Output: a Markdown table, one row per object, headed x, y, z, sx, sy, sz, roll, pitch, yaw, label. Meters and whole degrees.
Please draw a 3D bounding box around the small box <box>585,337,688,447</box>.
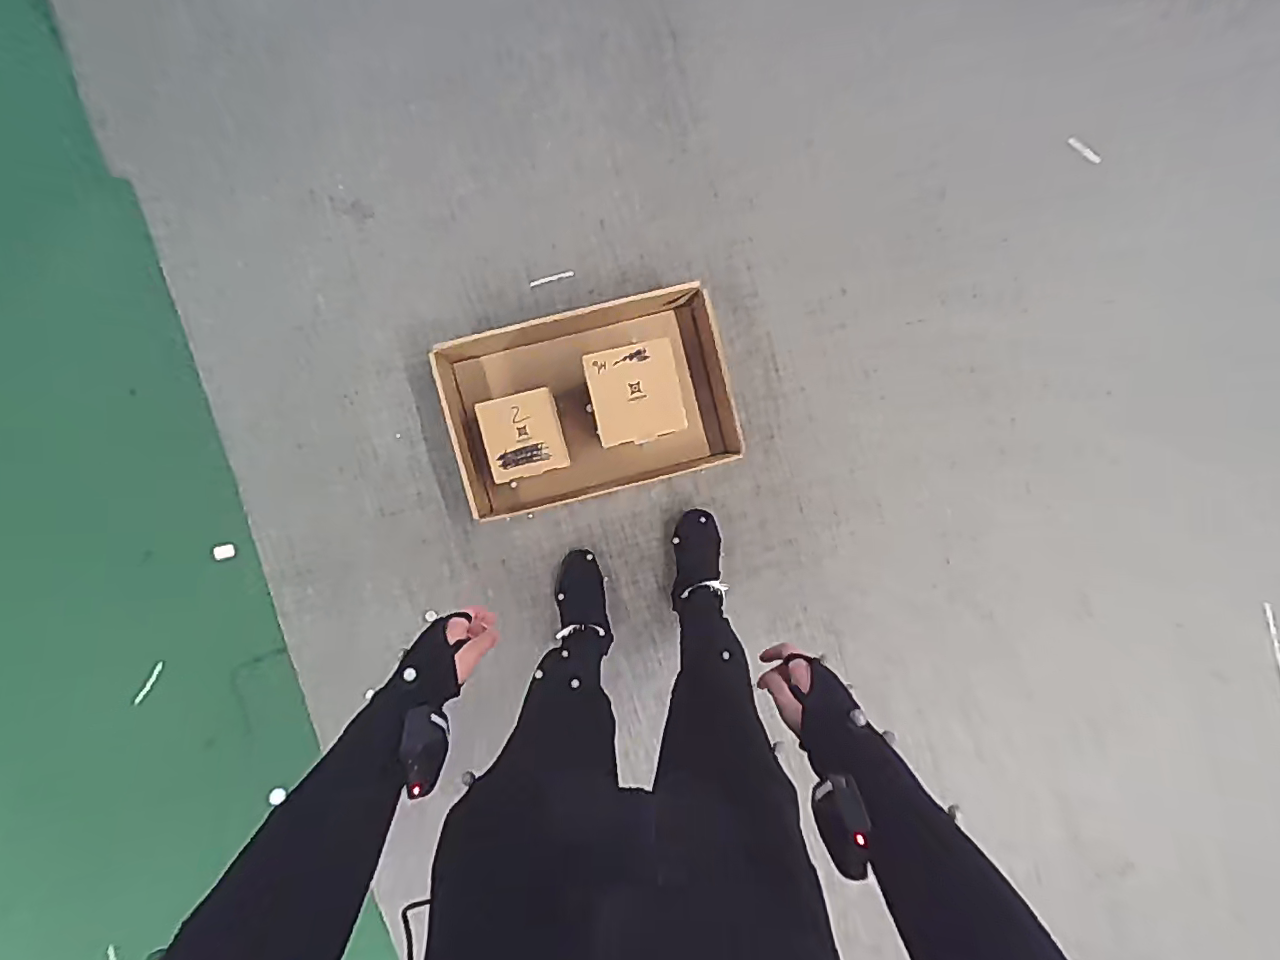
| x | y | z | sx | sy | sz | roll | pitch | yaw | label |
| --- | --- | --- | --- | --- | --- | --- | --- | --- | --- |
| -0.007 | -0.168 | 1.068 | 0.168 | 0.176 | 0.179 | -12 | 95 | -1 | small box |
